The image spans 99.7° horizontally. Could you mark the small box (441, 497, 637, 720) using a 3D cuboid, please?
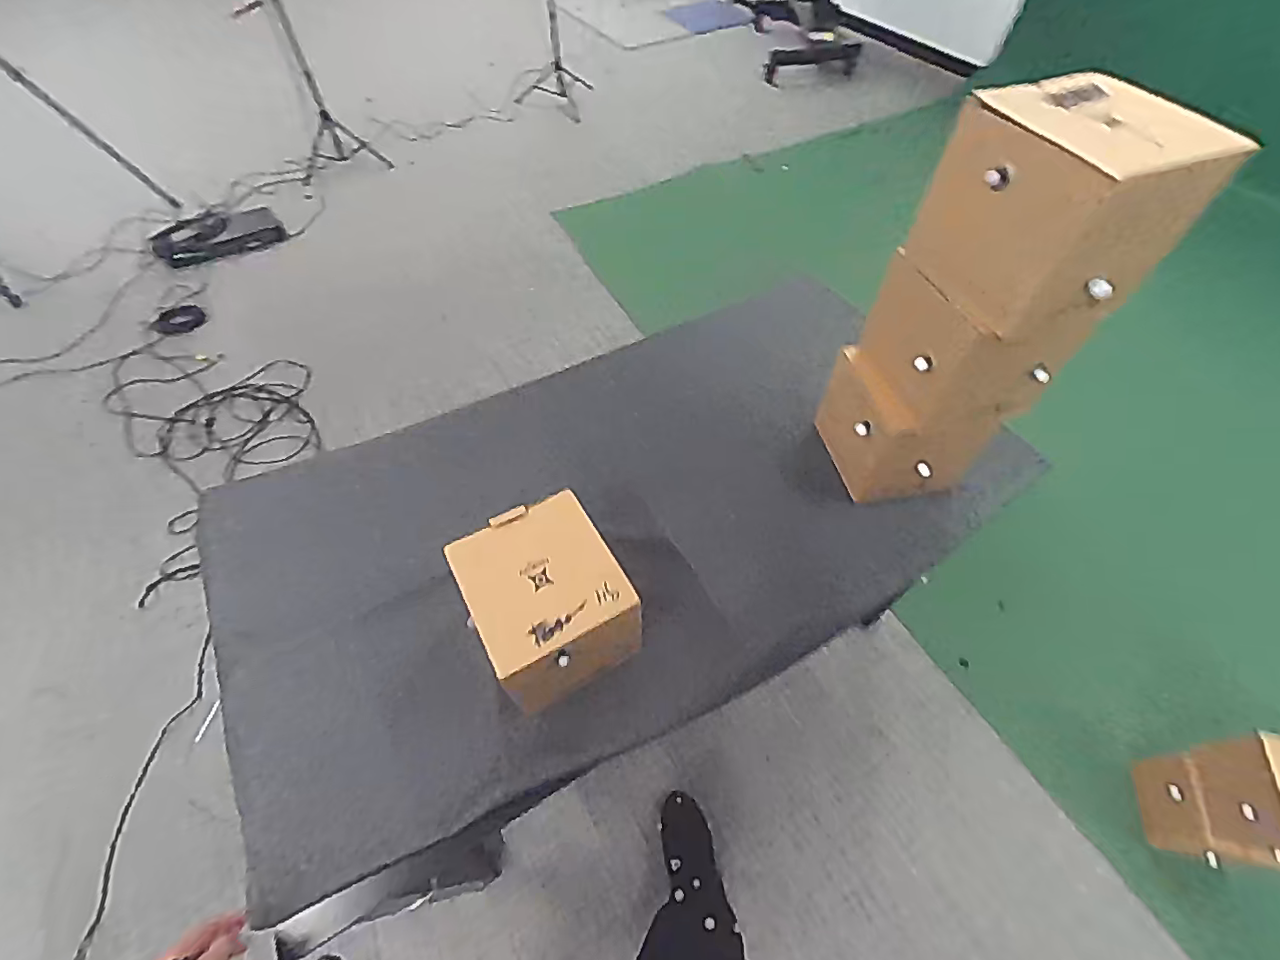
[{"bbox_3d":[-0.116,0.159,0.659,0.168,0.176,0.179,-26,58,-17],"label":"small box"}]

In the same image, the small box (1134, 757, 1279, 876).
[{"bbox_3d":[1.216,0.720,1.153,0.168,0.176,0.179,13,56,9],"label":"small box"}]

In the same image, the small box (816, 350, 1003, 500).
[{"bbox_3d":[0.389,-0.084,0.817,0.168,0.176,0.179,-8,54,-6],"label":"small box"}]

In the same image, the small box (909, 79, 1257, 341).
[{"bbox_3d":[0.416,-0.272,0.550,0.168,0.176,0.179,-18,57,-12],"label":"small box"}]

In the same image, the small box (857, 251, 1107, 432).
[{"bbox_3d":[0.409,-0.178,0.685,0.168,0.176,0.179,-12,54,-9],"label":"small box"}]
